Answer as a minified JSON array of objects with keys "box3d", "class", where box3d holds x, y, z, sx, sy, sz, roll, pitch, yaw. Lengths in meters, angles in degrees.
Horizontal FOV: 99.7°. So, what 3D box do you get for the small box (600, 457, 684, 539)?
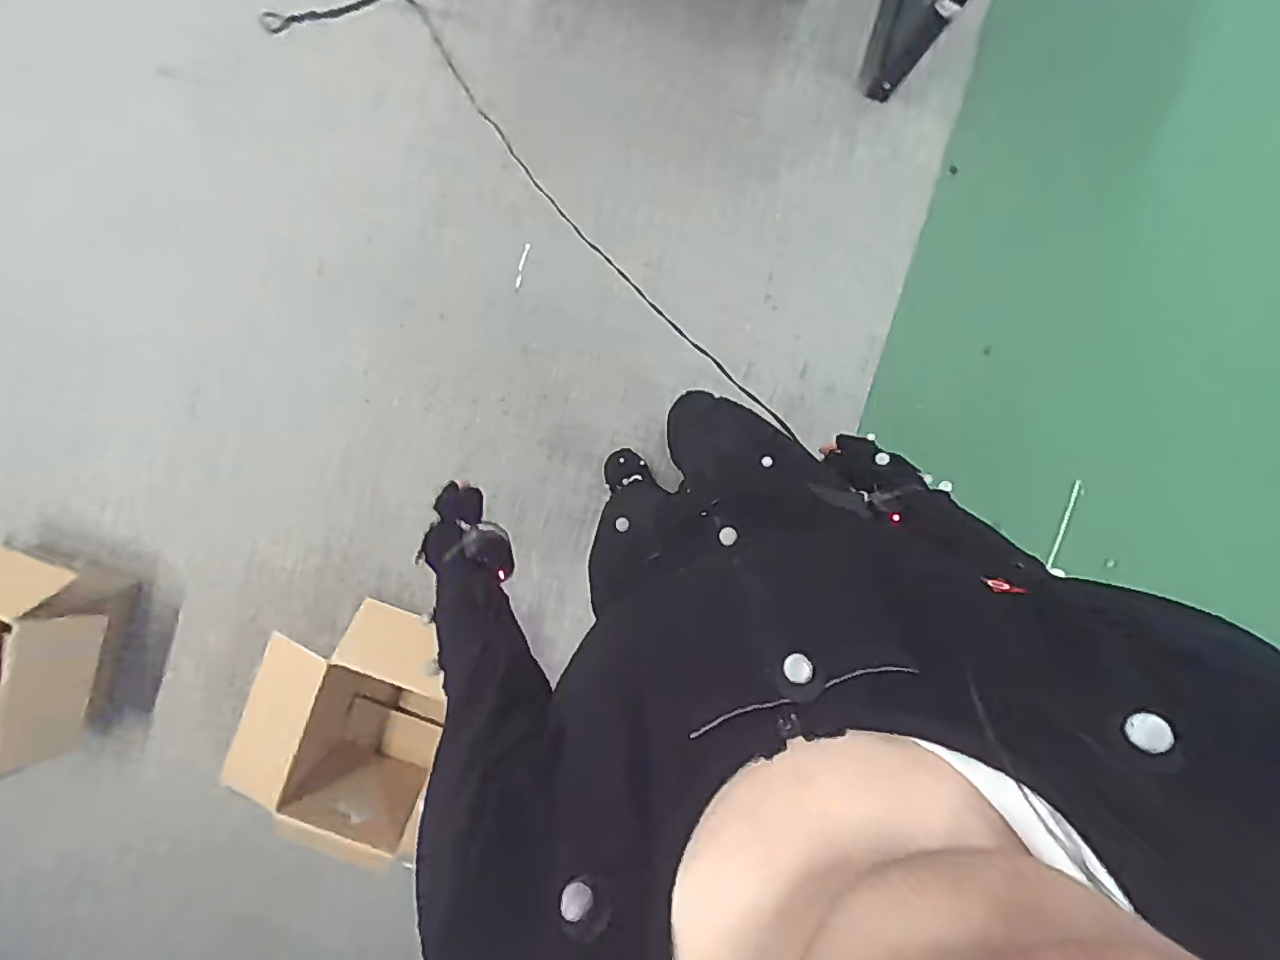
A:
[{"box3d":[0.004,0.042,1.421,0.179,0.176,0.168,12,105,16],"class":"small box"}]
